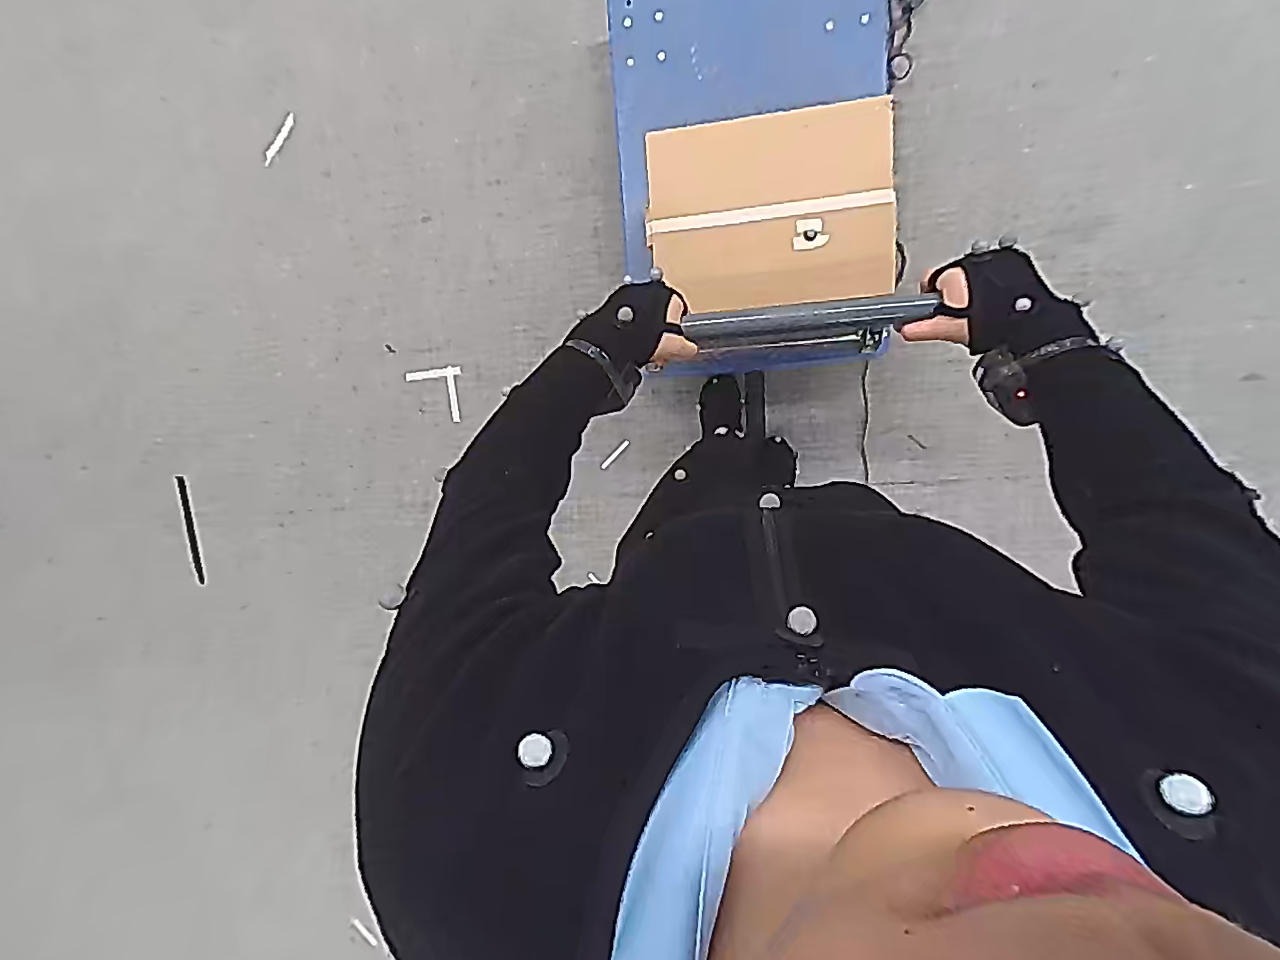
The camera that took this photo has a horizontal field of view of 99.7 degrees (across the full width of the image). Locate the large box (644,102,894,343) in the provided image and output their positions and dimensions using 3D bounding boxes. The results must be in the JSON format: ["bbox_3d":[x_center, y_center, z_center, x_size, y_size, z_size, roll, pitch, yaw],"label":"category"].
[{"bbox_3d":[0.235,-0.462,1.061,0.408,0.320,0.320,-3,98,9],"label":"large box"}]
